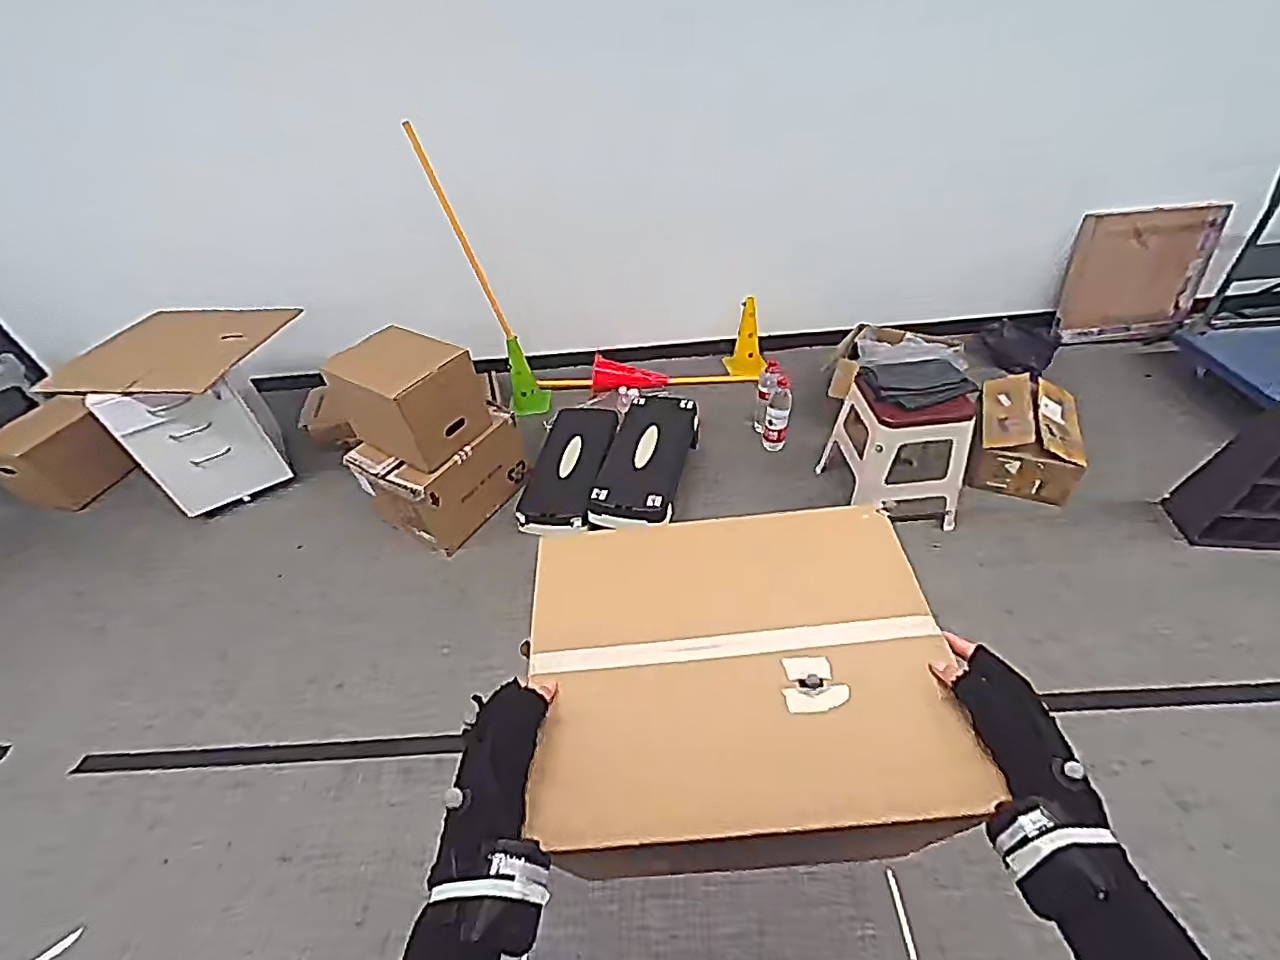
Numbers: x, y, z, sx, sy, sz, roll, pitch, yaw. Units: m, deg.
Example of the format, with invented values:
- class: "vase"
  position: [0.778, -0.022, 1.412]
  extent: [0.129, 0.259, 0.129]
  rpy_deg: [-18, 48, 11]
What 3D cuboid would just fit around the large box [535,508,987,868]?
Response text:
- class: "large box"
  position: [0.103, 0.265, 0.674]
  extent: [0.408, 0.320, 0.320]
  rpy_deg: [-5, 51, 1]
